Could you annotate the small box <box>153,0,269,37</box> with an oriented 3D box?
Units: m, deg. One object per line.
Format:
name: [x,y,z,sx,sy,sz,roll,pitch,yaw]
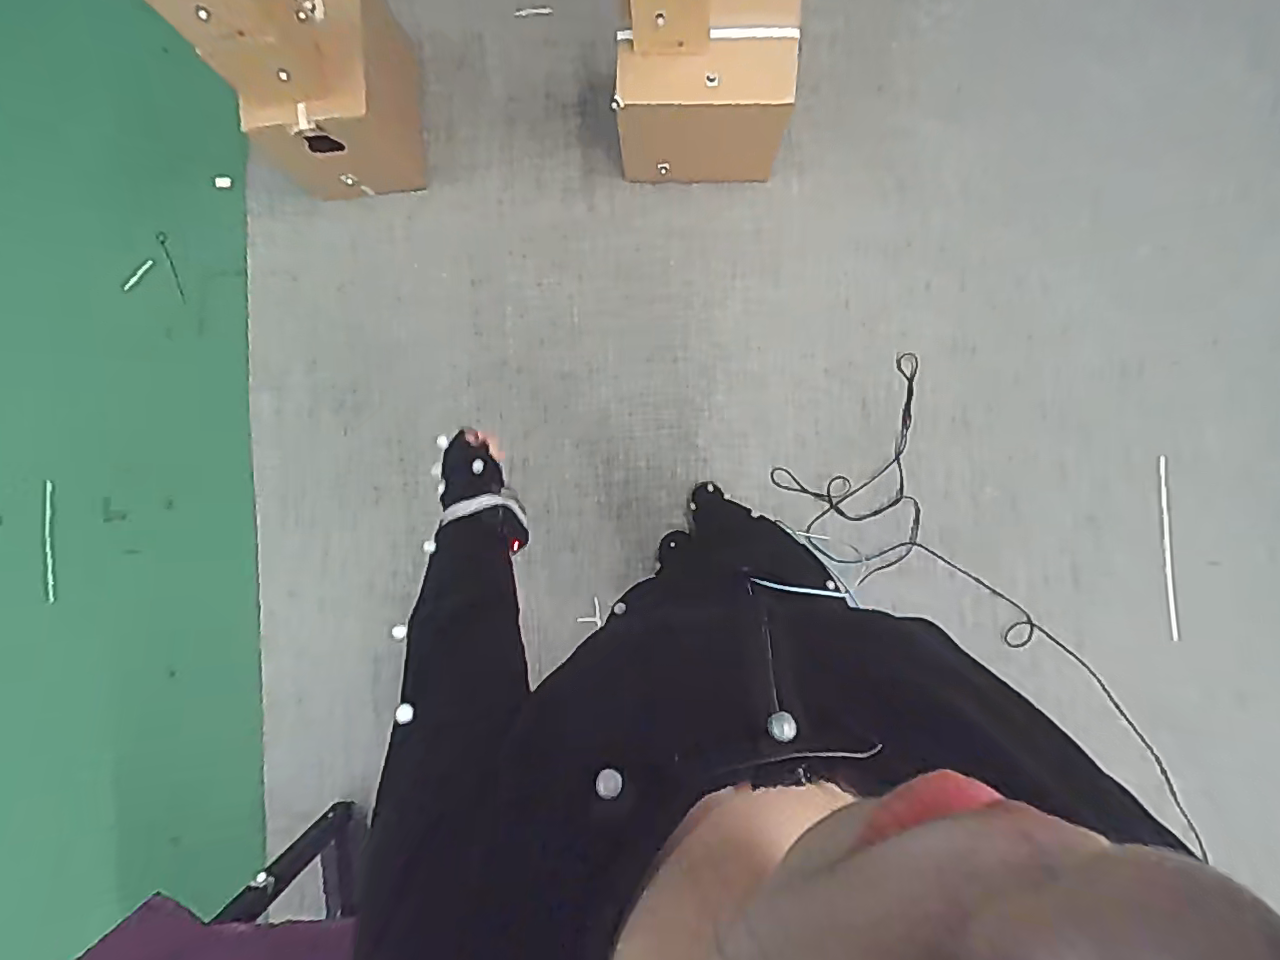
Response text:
small box: [-0.832,-0.976,1.010,0.168,0.176,0.179,-9,88,3]

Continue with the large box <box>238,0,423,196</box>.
large box: [-0.794,-1.034,1.416,0.320,0.320,0.408,-4,88,3]

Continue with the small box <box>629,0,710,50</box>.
small box: [0.066,-1.039,1.121,0.168,0.176,0.179,3,88,3]

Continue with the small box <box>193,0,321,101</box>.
small box: [-0.822,-0.966,1.173,0.179,0.176,0.168,-5,88,4]
